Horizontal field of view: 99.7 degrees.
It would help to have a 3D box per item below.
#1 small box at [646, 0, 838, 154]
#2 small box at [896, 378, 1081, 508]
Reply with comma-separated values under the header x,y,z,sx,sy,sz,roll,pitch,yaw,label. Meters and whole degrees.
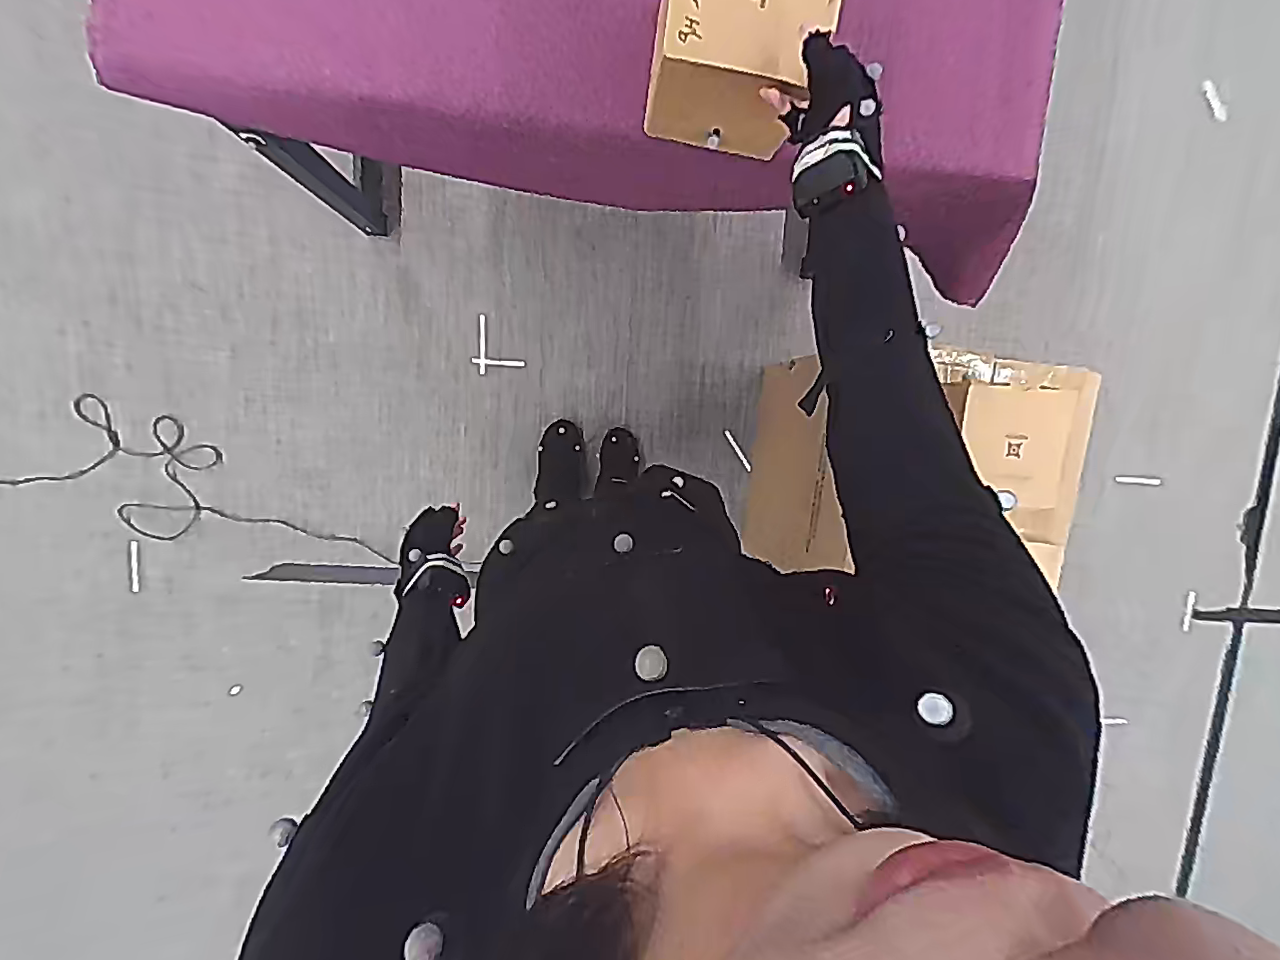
x,y,z,sx,sy,sz,roll,pitch,yaw,label
0.112,-0.515,0.634,0.179,0.176,0.168,7,96,-7,small box
0.524,-0.061,0.840,0.168,0.176,0.179,4,99,-4,small box
